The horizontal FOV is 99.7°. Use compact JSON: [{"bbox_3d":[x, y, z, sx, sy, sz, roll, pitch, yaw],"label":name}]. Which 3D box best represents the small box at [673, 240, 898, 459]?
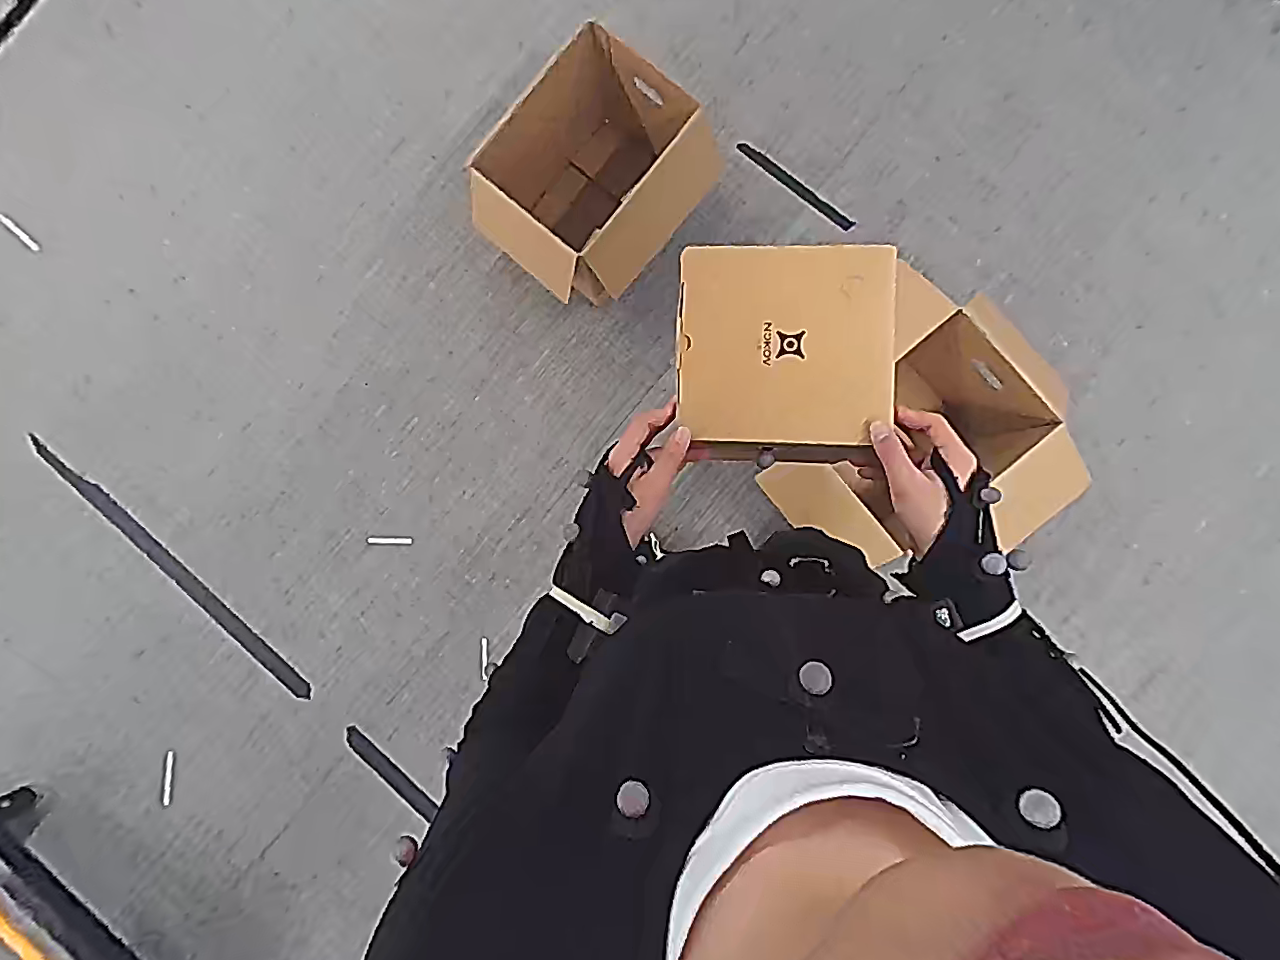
[{"bbox_3d":[0.124,-0.110,0.516,0.179,0.176,0.168,2,87,7],"label":"small box"}]
